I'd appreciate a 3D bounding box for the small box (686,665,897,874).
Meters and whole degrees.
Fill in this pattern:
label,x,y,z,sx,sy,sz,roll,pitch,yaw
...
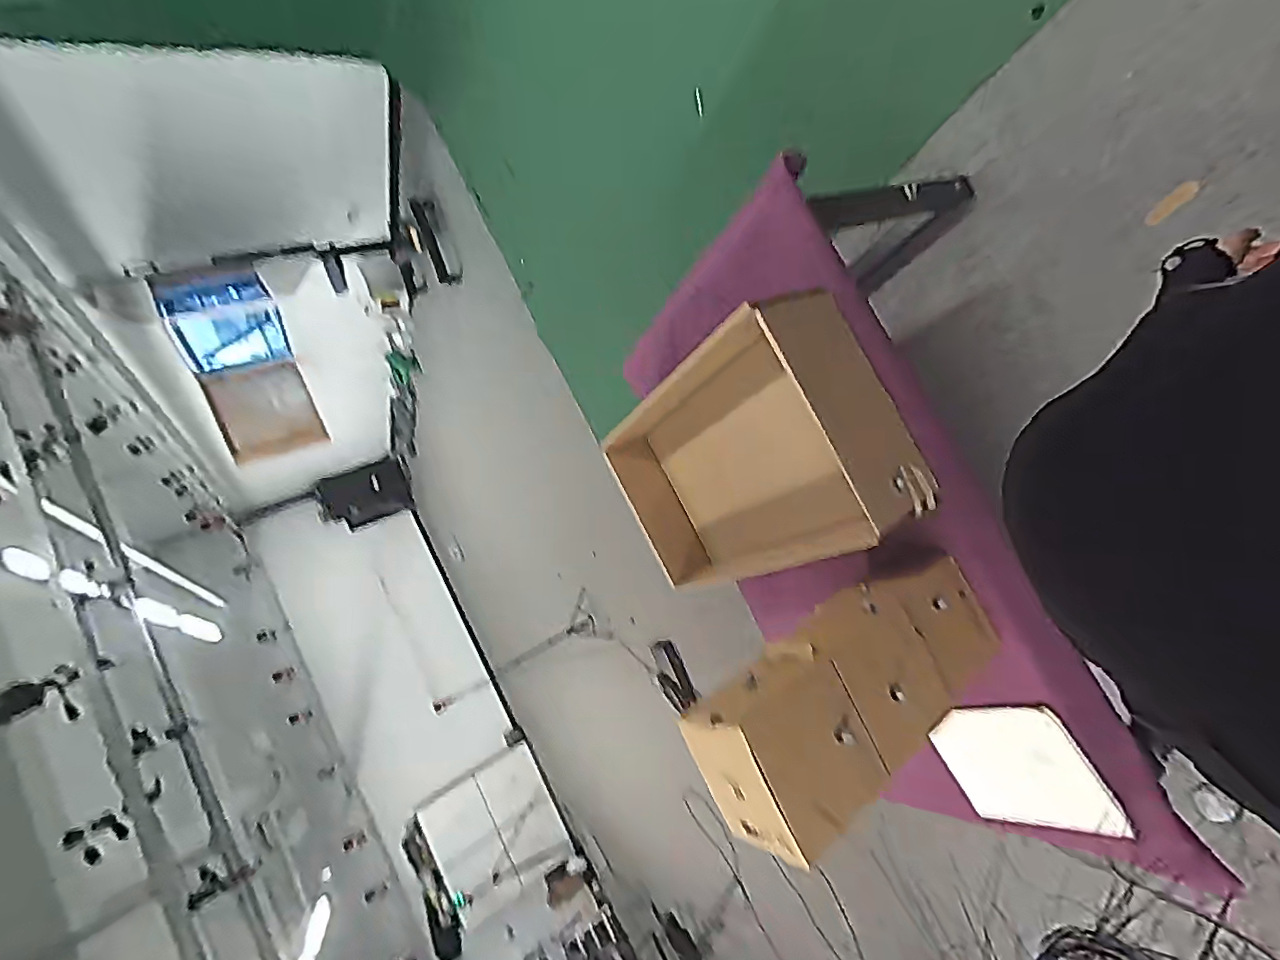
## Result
label,x,y,z,sx,sy,sz,roll,pitch,yaw
small box,0.197,0.363,0.722,0.179,0.176,0.168,64,151,7

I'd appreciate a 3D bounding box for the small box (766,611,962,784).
label,x,y,z,sx,sy,sz,roll,pitch,yaw
small box,0.329,0.307,0.804,0.179,0.176,0.168,63,151,6

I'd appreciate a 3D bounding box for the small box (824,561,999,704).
label,x,y,z,sx,sy,sz,roll,pitch,yaw
small box,0.452,0.249,0.895,0.168,0.176,0.179,64,151,6
